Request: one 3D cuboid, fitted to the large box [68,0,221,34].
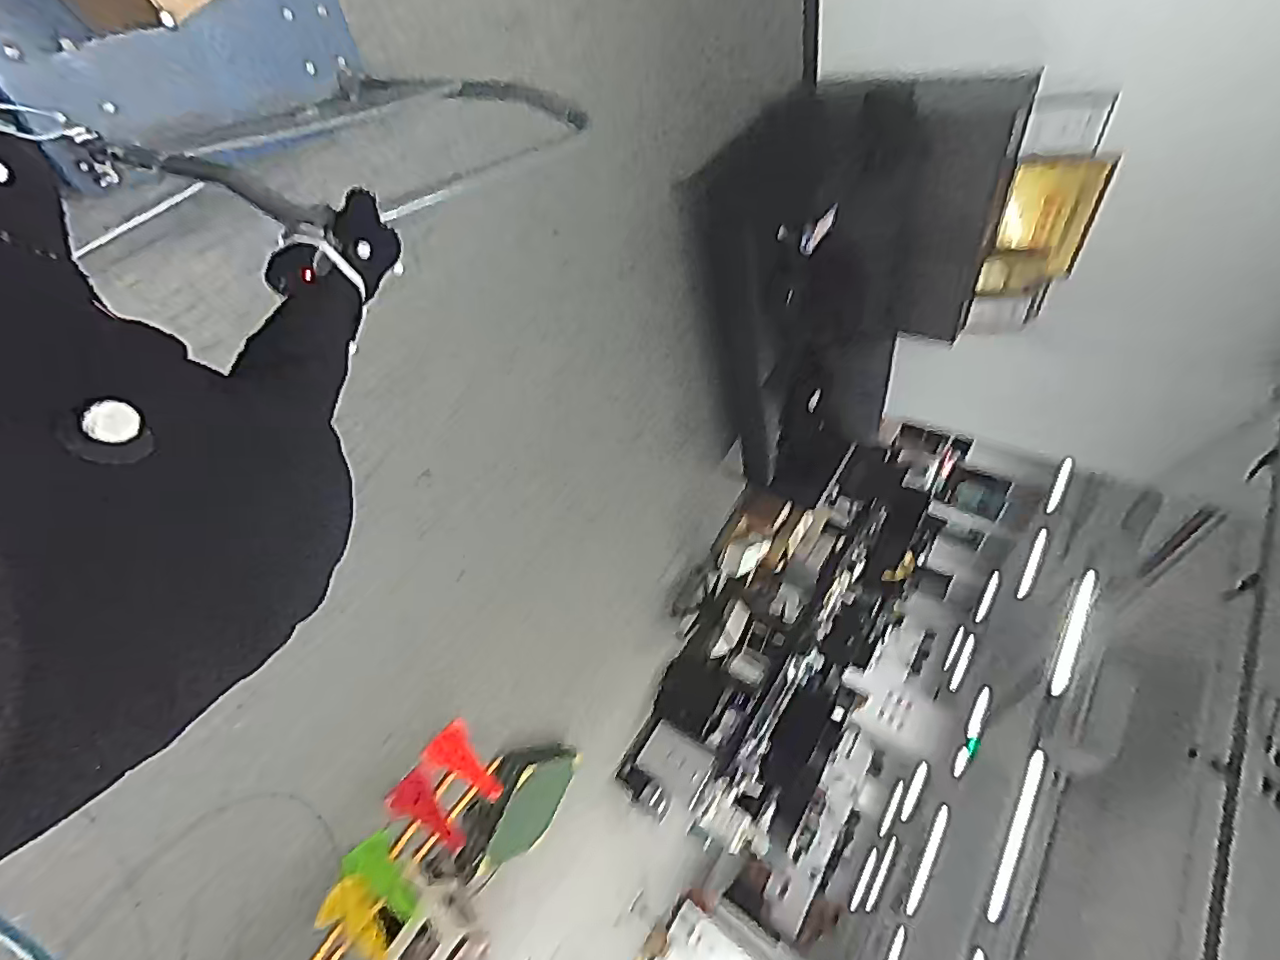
[{"bbox_3d":[-0.659,-0.867,0.696,0.408,0.320,0.320,-57,149,-15],"label":"large box"}]
